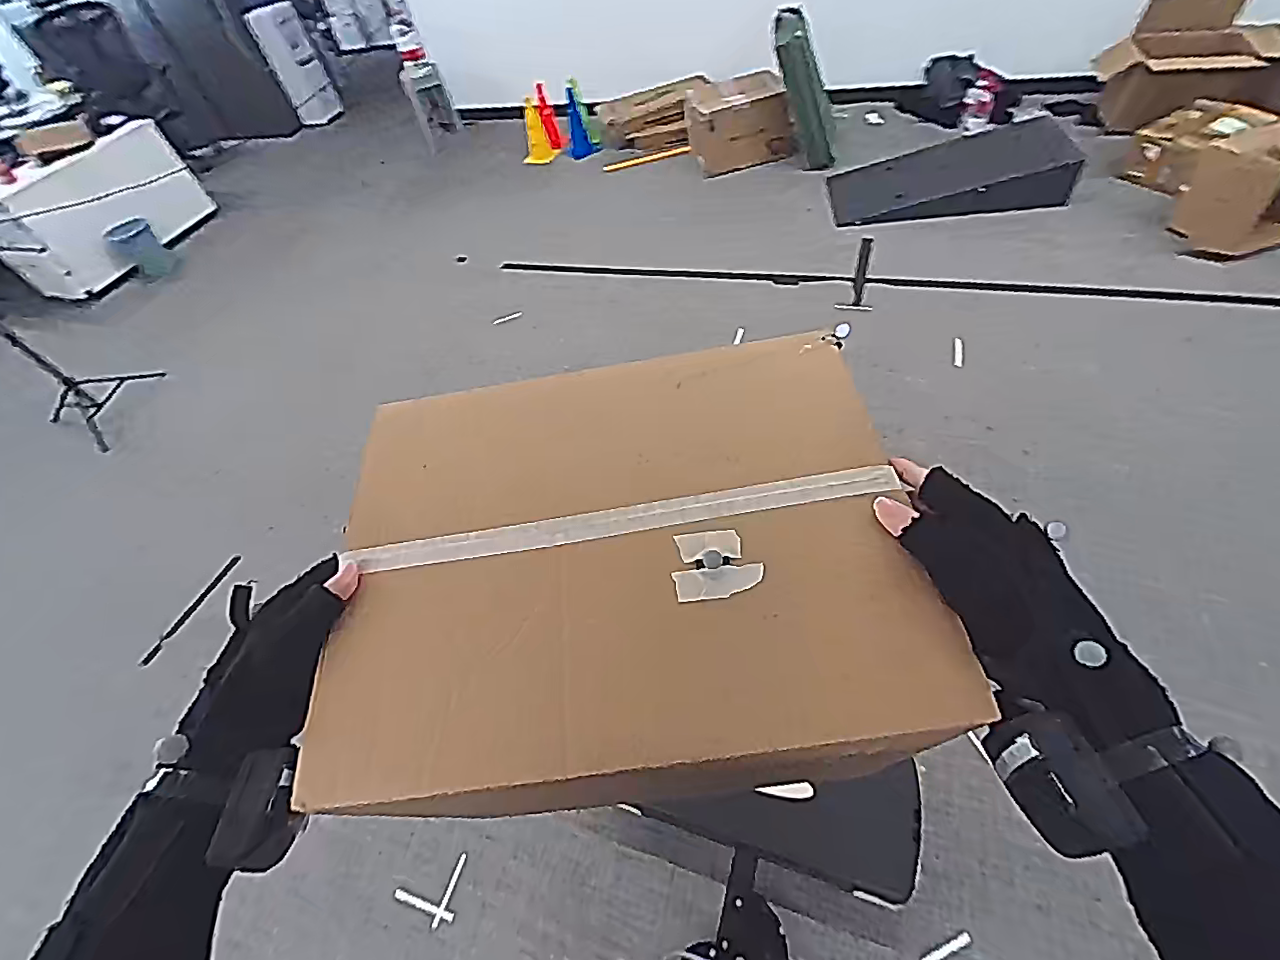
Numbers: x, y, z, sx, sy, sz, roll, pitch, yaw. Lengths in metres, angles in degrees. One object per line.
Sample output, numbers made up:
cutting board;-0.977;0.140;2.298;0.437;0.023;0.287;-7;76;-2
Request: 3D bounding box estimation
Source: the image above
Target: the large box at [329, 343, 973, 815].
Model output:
large box;0.002;0.116;0.528;0.408;0.320;0.320;-9;57;2
